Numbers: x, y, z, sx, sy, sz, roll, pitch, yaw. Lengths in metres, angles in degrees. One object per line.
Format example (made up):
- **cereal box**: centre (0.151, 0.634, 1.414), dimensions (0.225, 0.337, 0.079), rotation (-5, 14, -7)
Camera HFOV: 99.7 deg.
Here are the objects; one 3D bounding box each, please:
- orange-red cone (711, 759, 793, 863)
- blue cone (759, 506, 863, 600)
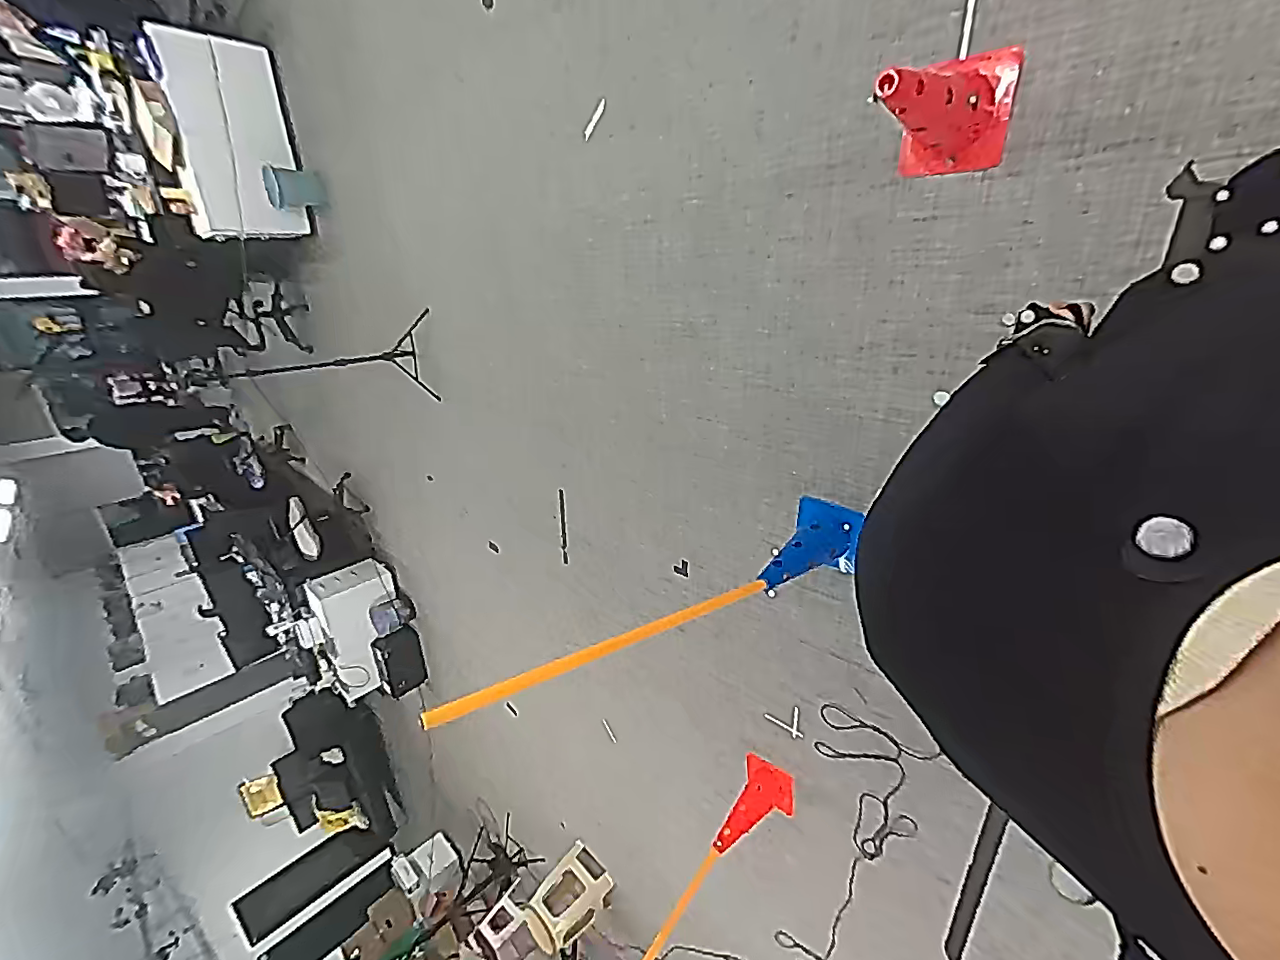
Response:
- **orange-red cone**: centre (0.377, 1.225, 1.942), dimensions (0.199, 0.360, 0.198), rotation (11, 115, 42)
- **blue cone**: centre (0.439, 0.222, 1.469), dimensions (0.193, 0.380, 0.192), rotation (22, 122, 40)
